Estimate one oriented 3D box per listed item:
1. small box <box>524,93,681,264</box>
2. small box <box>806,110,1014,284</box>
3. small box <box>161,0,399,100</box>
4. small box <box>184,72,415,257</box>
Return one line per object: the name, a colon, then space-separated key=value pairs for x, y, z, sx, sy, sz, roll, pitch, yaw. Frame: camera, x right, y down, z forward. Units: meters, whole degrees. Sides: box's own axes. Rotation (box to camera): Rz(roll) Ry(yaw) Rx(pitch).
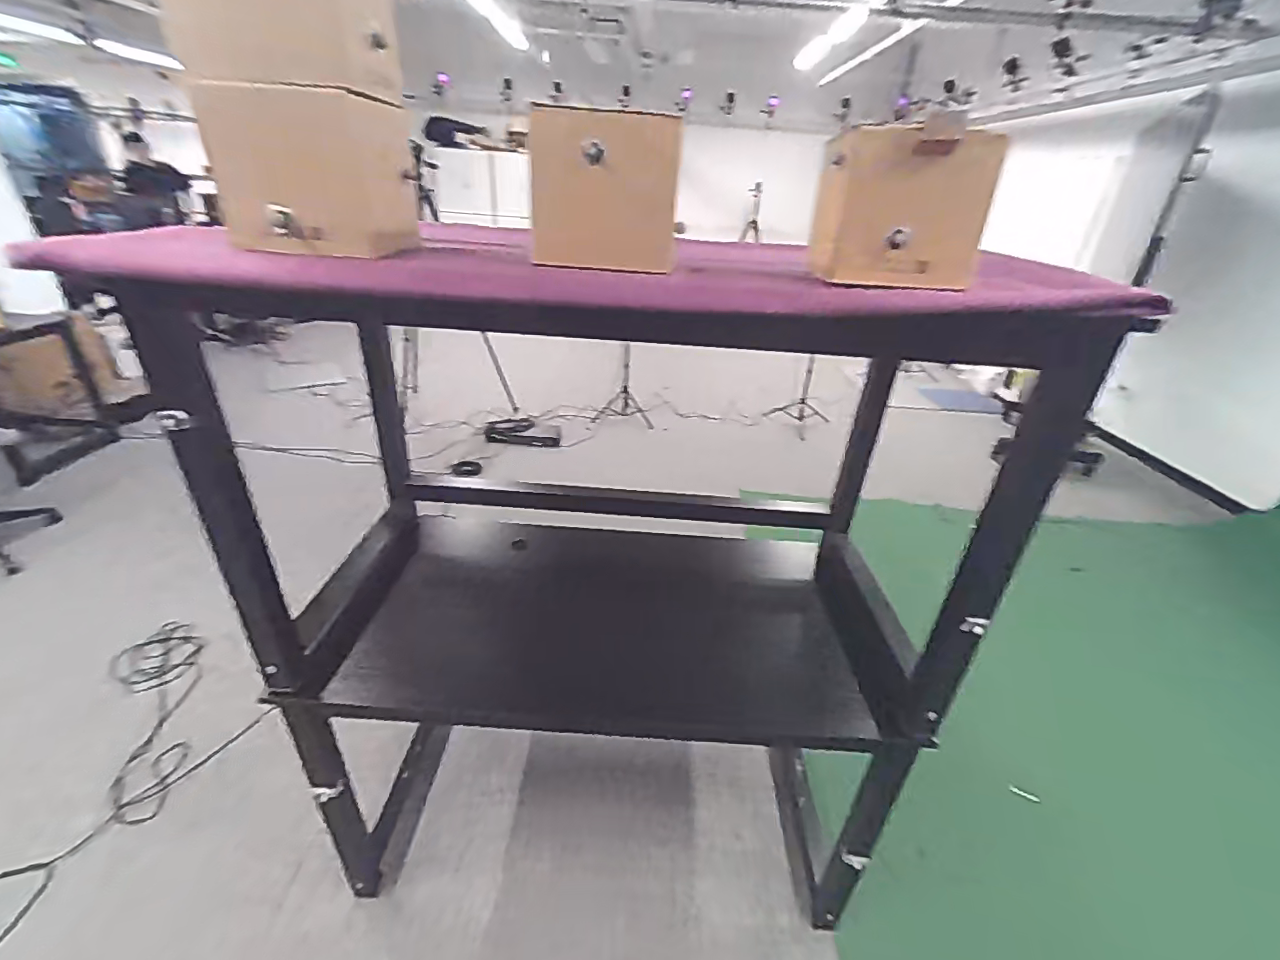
small box: x=-0.042 y=-0.376 z=0.694 sx=0.179 sy=0.176 sz=0.168 roll=5 pitch=27 yaw=1
small box: x=0.318 y=-0.350 z=0.684 sx=0.168 sy=0.176 sz=0.179 roll=4 pitch=27 yaw=4
small box: x=-0.389 y=-0.525 z=0.586 sx=0.179 sy=0.176 sz=0.168 roll=1 pitch=29 yaw=-3
small box: x=-0.391 y=-0.379 z=0.665 sx=0.168 sy=0.176 sz=0.179 roll=1 pitch=30 yaw=-2
